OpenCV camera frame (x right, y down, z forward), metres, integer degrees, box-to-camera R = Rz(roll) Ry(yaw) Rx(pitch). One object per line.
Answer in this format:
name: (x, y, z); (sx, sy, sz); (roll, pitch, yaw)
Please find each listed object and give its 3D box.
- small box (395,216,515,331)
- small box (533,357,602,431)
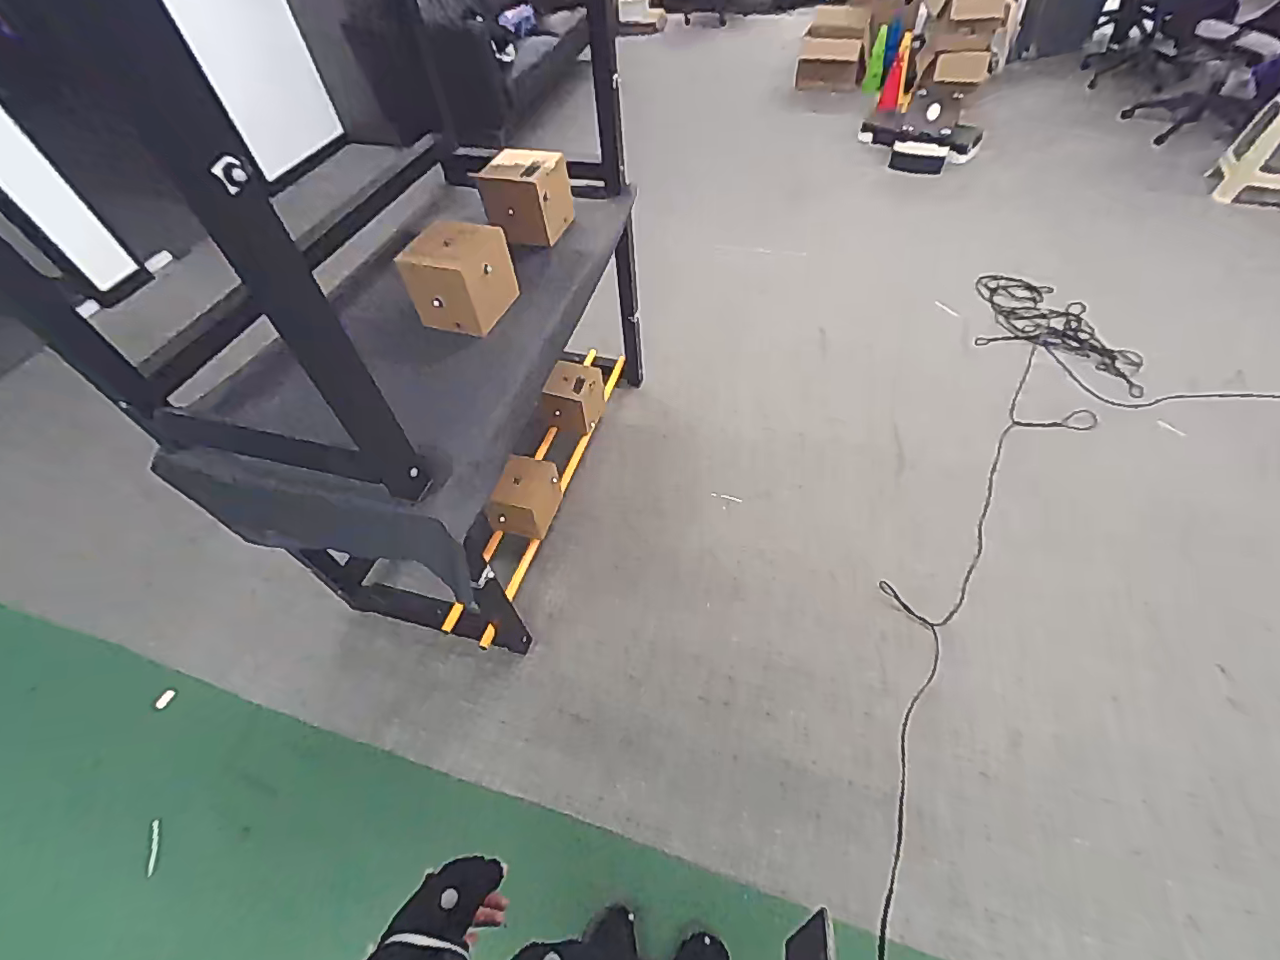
small box: (-0.398, -0.455, 1.202); (0.168, 0.176, 0.179); (14, 55, 14)
small box: (-0.240, -0.290, 1.850); (0.179, 0.176, 0.168); (14, 55, 14)
